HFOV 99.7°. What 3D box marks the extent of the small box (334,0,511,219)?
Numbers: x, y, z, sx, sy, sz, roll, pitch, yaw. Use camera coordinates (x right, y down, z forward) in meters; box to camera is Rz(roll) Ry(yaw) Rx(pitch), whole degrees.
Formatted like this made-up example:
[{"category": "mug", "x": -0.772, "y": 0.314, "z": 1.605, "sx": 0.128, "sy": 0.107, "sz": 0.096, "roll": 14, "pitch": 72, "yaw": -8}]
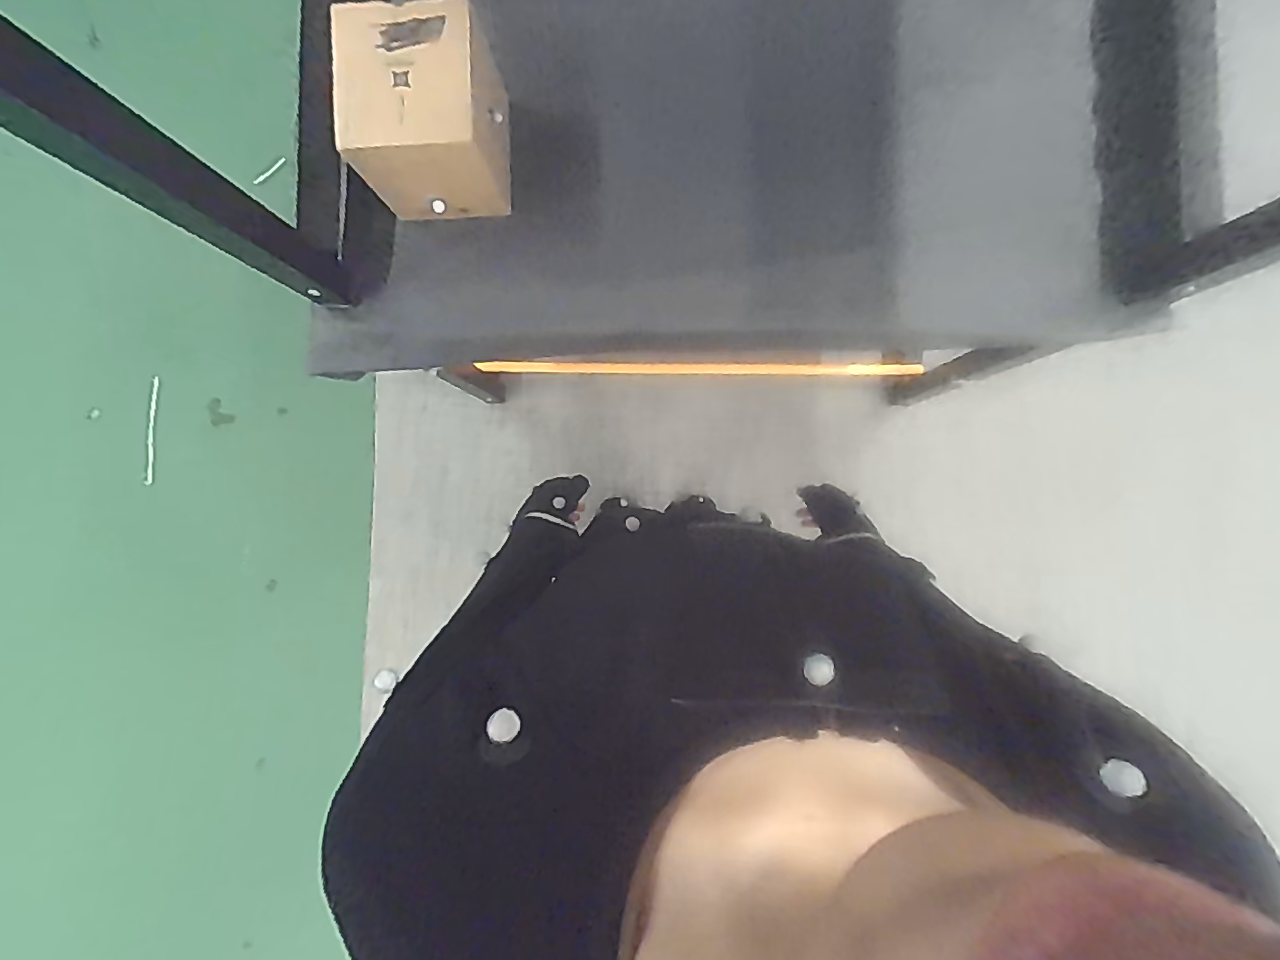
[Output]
[{"category": "small box", "x": -0.273, "y": -0.472, "z": 0.710, "sx": 0.168, "sy": 0.176, "sz": 0.179, "roll": -2, "pitch": 88, "yaw": 2}]
